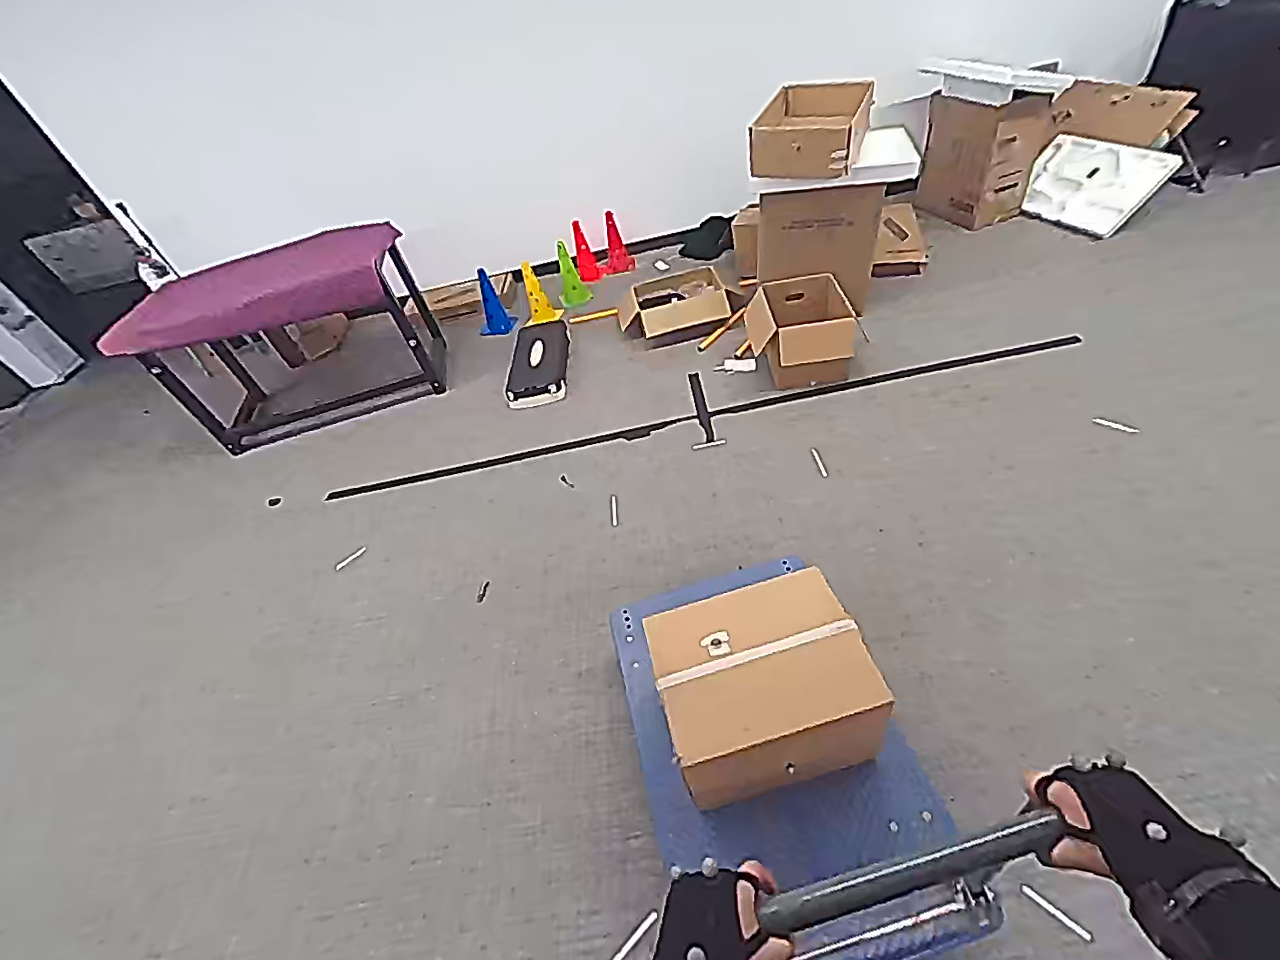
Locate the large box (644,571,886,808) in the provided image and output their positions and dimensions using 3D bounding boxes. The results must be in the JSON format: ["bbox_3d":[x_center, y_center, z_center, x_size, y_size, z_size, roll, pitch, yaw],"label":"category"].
[{"bbox_3d":[0.261,0.463,1.193,0.408,0.320,0.320,-18,43,-1],"label":"large box"}]
